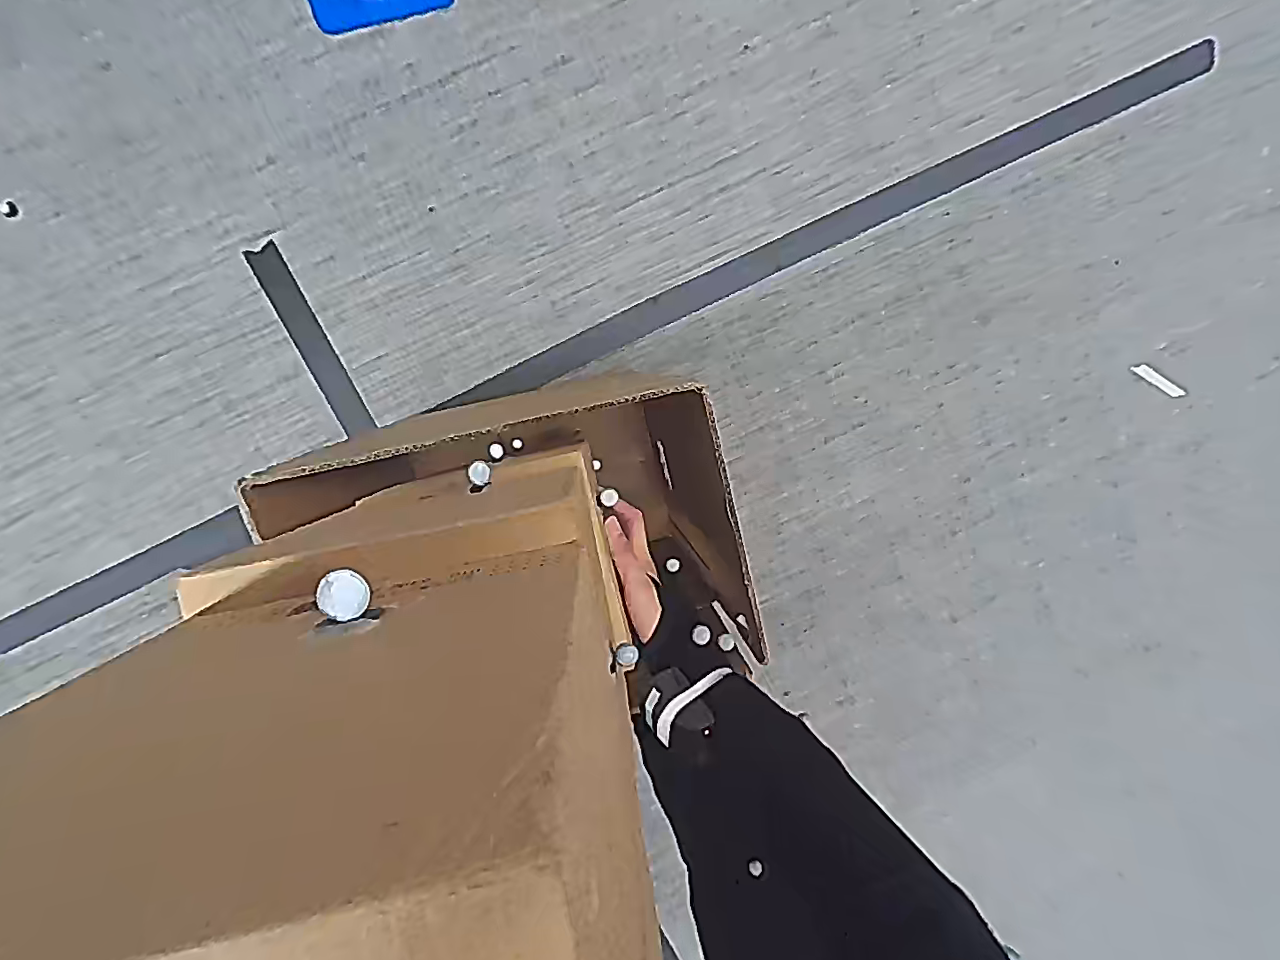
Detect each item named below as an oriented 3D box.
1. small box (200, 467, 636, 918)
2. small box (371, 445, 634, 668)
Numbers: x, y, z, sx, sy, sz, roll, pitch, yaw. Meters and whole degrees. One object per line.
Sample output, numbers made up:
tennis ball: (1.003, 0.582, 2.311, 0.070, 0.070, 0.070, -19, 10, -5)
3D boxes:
small box: (-0.098, 0.097, 0.322, 0.168, 0.176, 0.179, -10, 97, -3)
small box: (-0.107, 0.068, 0.483, 0.168, 0.176, 0.179, -13, 99, -3)
